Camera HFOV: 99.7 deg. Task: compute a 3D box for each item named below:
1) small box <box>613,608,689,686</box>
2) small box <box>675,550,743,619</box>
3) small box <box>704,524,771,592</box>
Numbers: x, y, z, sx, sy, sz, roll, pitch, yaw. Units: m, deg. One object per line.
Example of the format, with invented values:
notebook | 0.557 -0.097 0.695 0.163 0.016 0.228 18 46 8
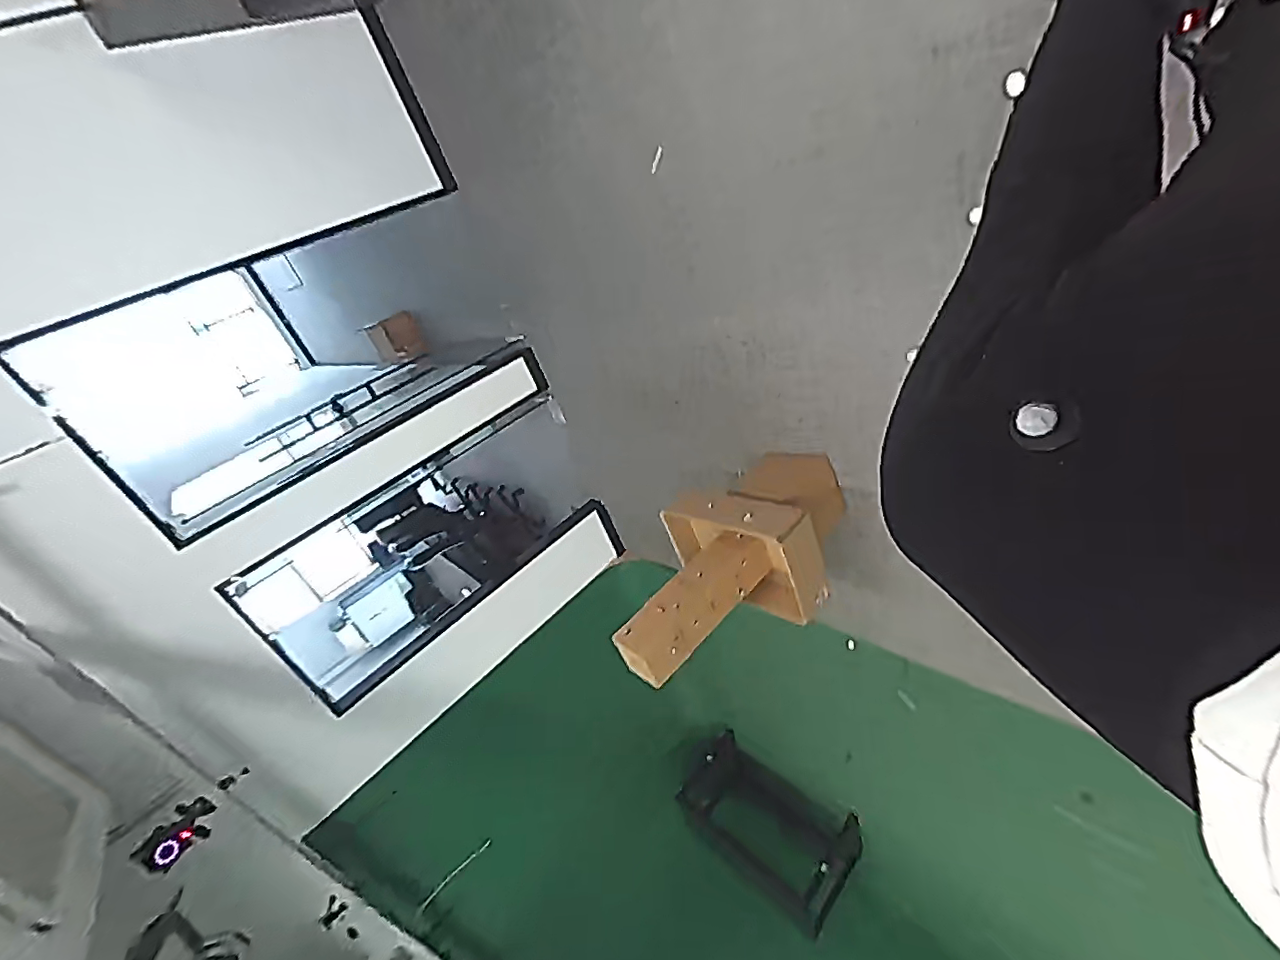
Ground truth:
small box | 0.041 0.577 1.898 0.179 0.176 0.168 11 133 53
small box | 0.269 0.388 2.042 0.179 0.176 0.168 13 134 52
small box | 0.387 0.300 2.113 0.168 0.176 0.179 11 132 52
